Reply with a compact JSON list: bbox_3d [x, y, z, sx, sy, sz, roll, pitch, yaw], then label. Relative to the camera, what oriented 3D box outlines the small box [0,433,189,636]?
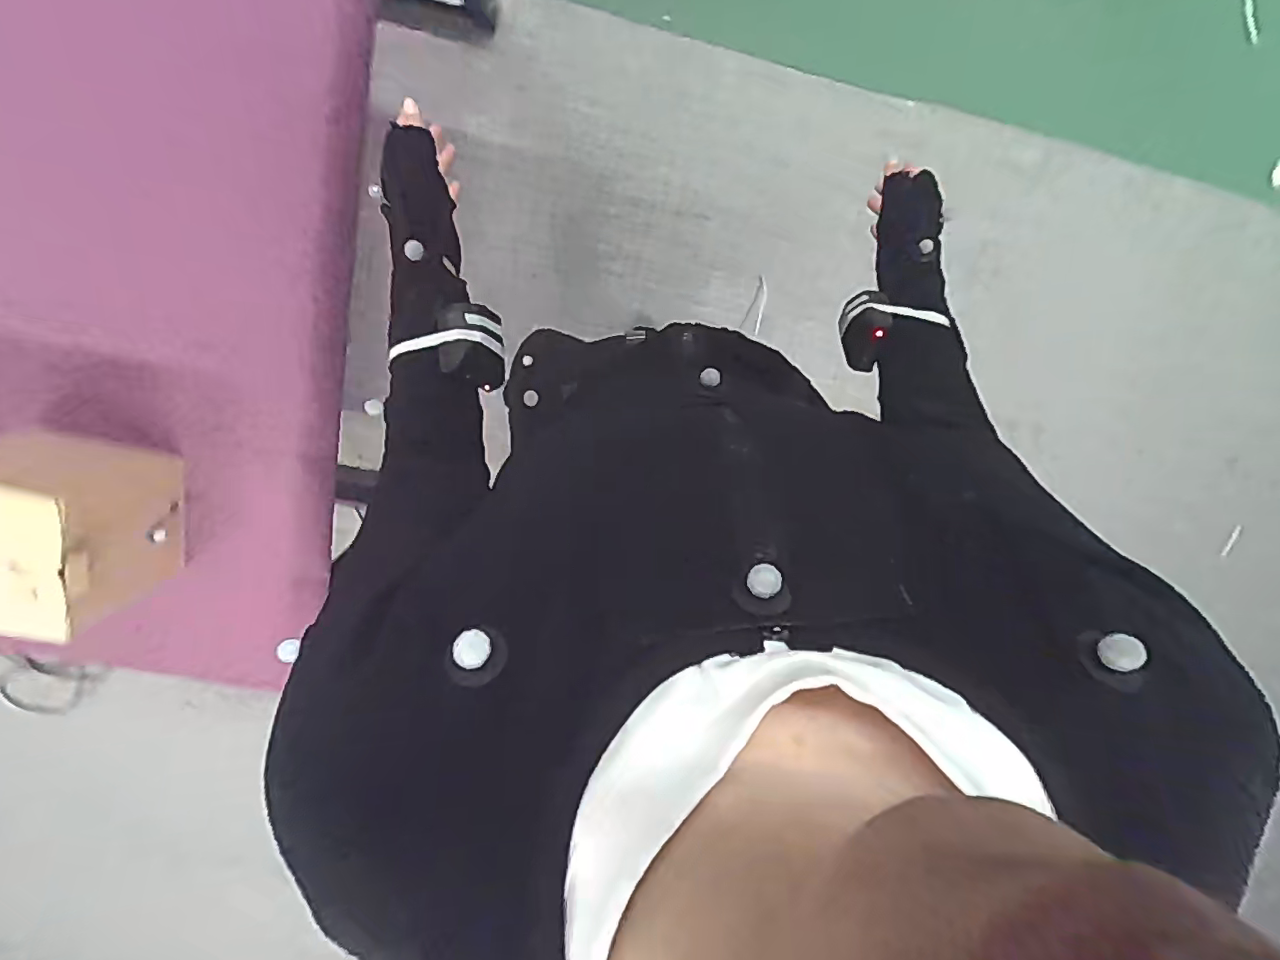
[{"bbox_3d":[-0.677,0.051,0.623,0.179,0.176,0.168,13,105,-7],"label":"small box"}]
